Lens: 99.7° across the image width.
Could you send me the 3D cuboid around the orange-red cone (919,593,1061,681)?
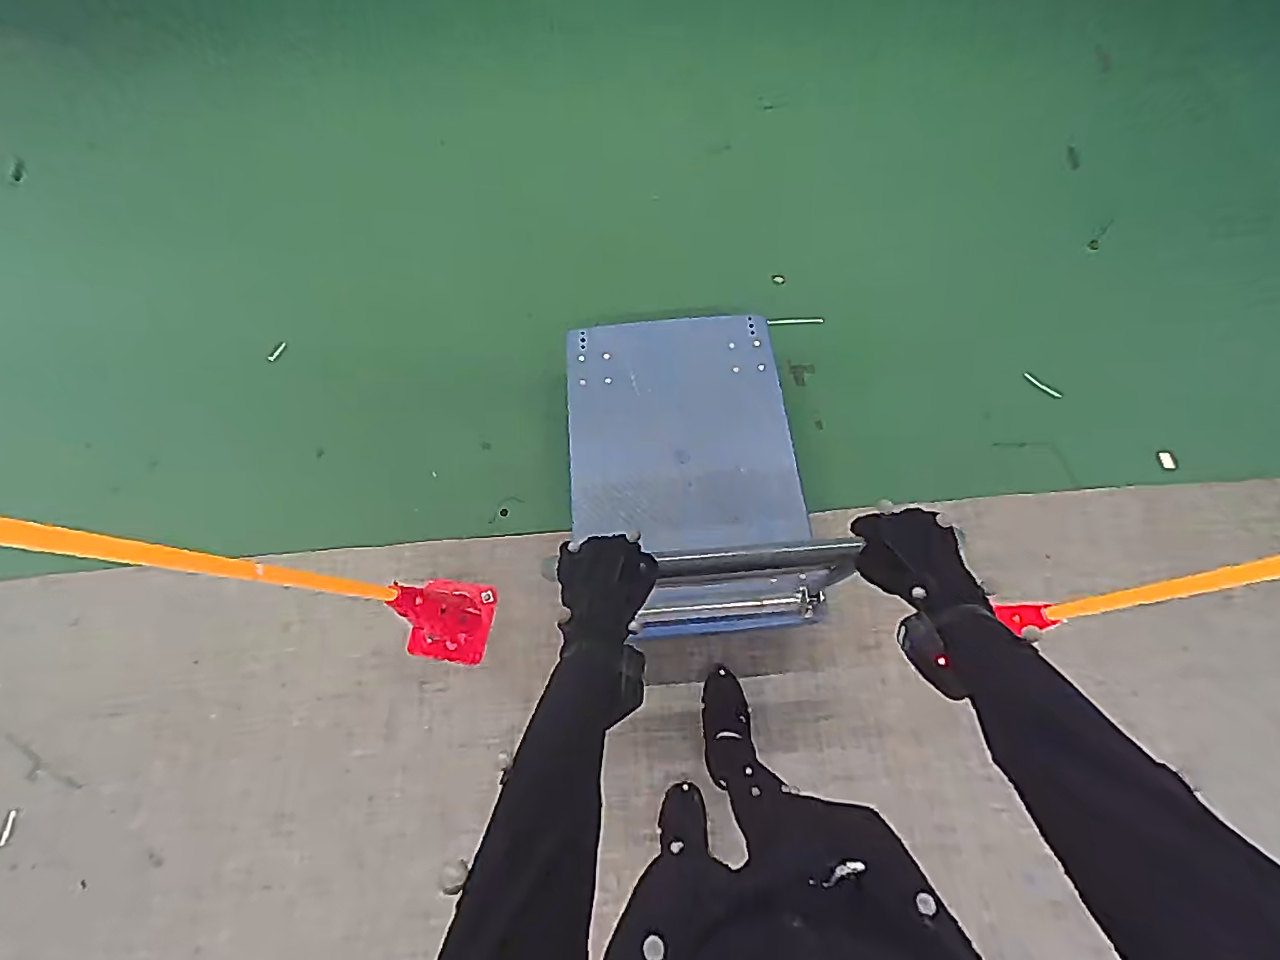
[{"bbox_3d":[0.794,0.326,1.194,0.198,0.360,0.199,6,69,5],"label":"orange-red cone"}]
